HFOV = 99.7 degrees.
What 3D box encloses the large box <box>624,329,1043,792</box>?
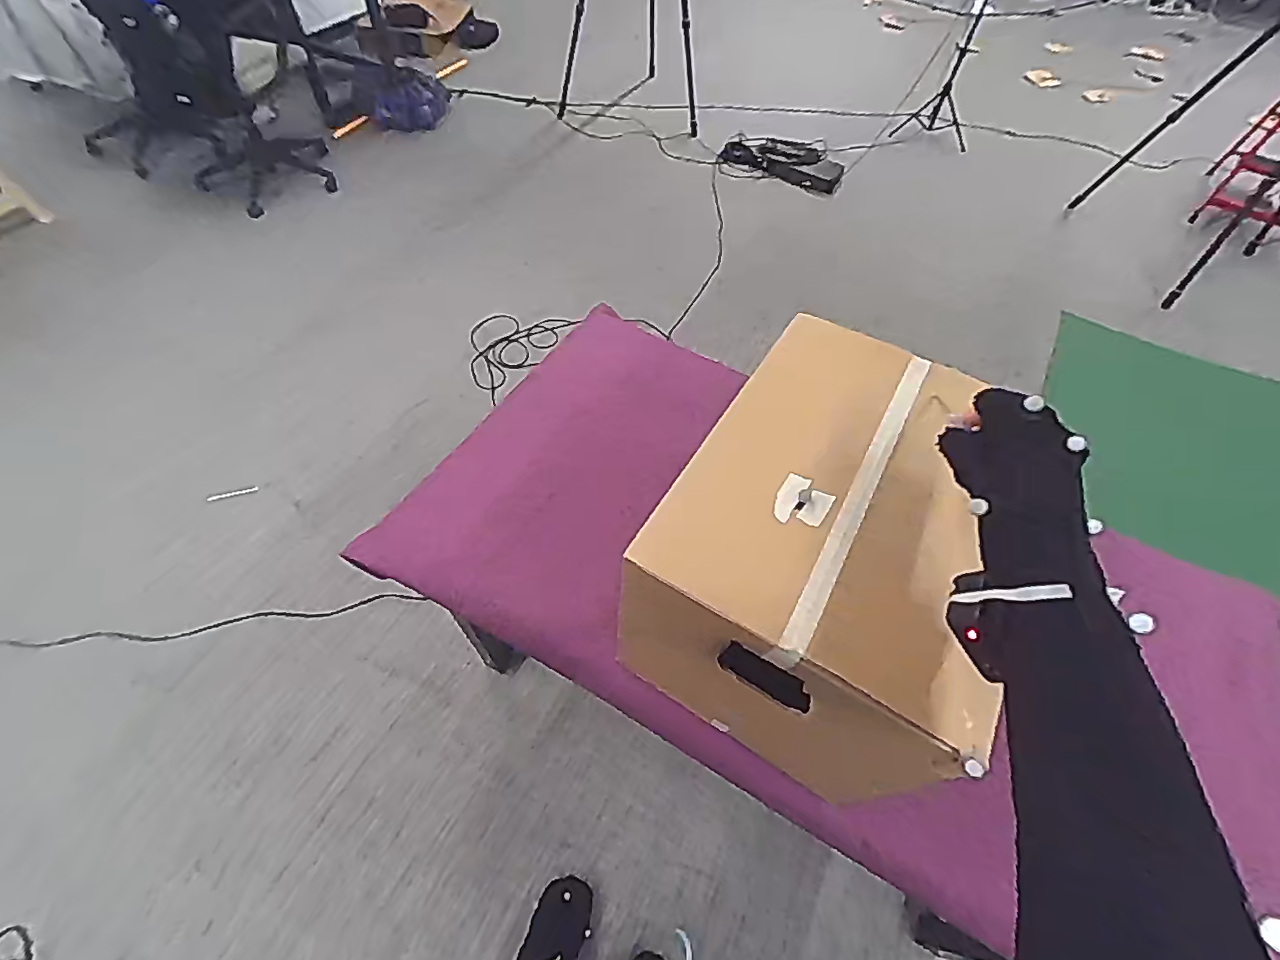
[{"bbox_3d":[0.214,0.096,0.670,0.320,0.320,0.408,29,59,16],"label":"large box"}]
